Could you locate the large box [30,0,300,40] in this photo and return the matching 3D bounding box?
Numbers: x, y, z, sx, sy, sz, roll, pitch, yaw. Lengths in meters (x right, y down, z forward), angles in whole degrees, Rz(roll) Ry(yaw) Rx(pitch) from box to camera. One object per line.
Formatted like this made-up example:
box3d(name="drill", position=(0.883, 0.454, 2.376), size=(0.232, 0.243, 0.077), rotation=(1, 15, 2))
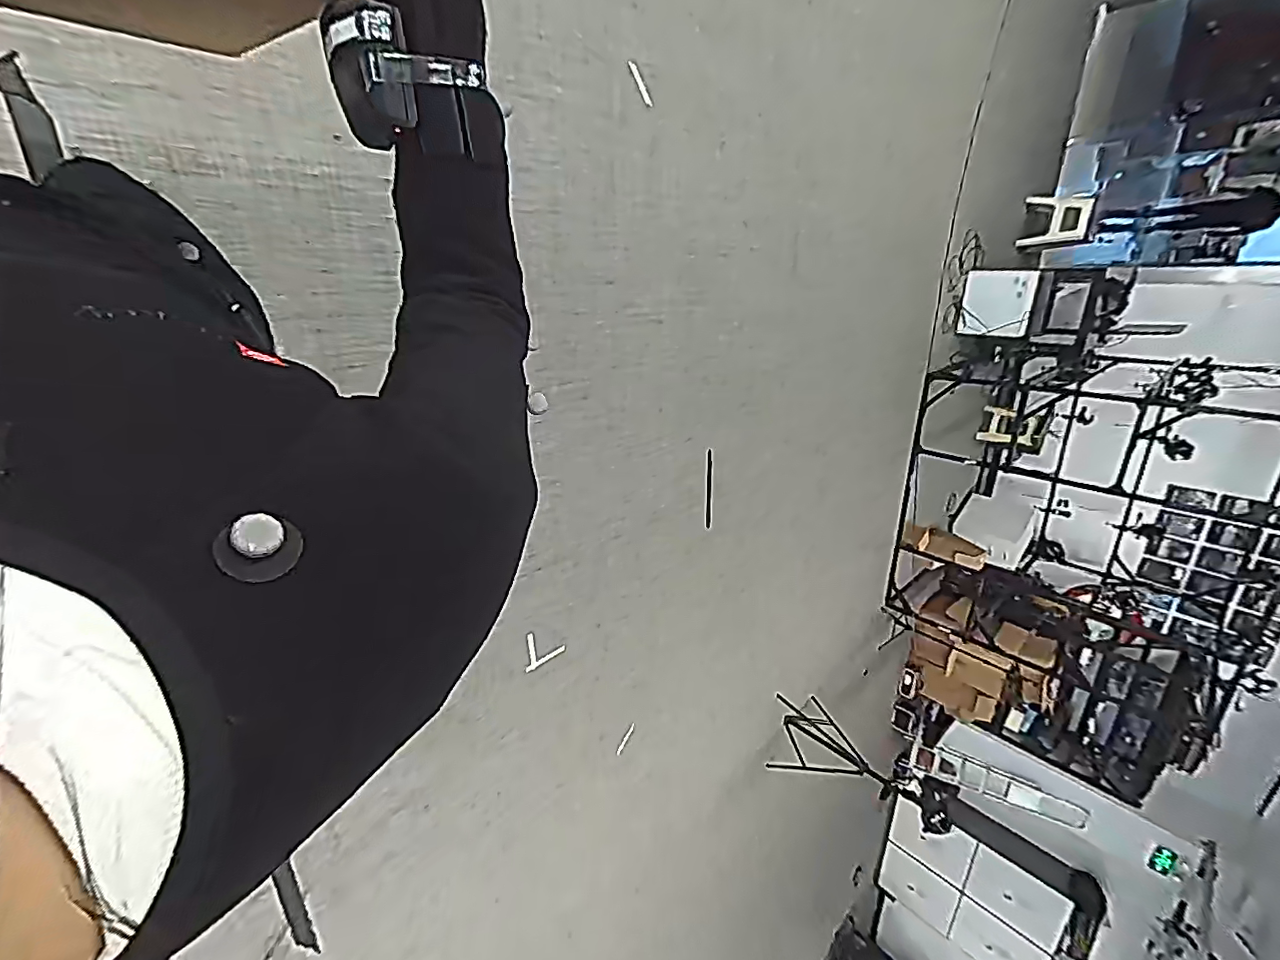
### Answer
box3d(name="large box", position=(-0.396, -0.420, 0.202), size=(0.408, 0.320, 0.320), rotation=(-21, 128, -41))
